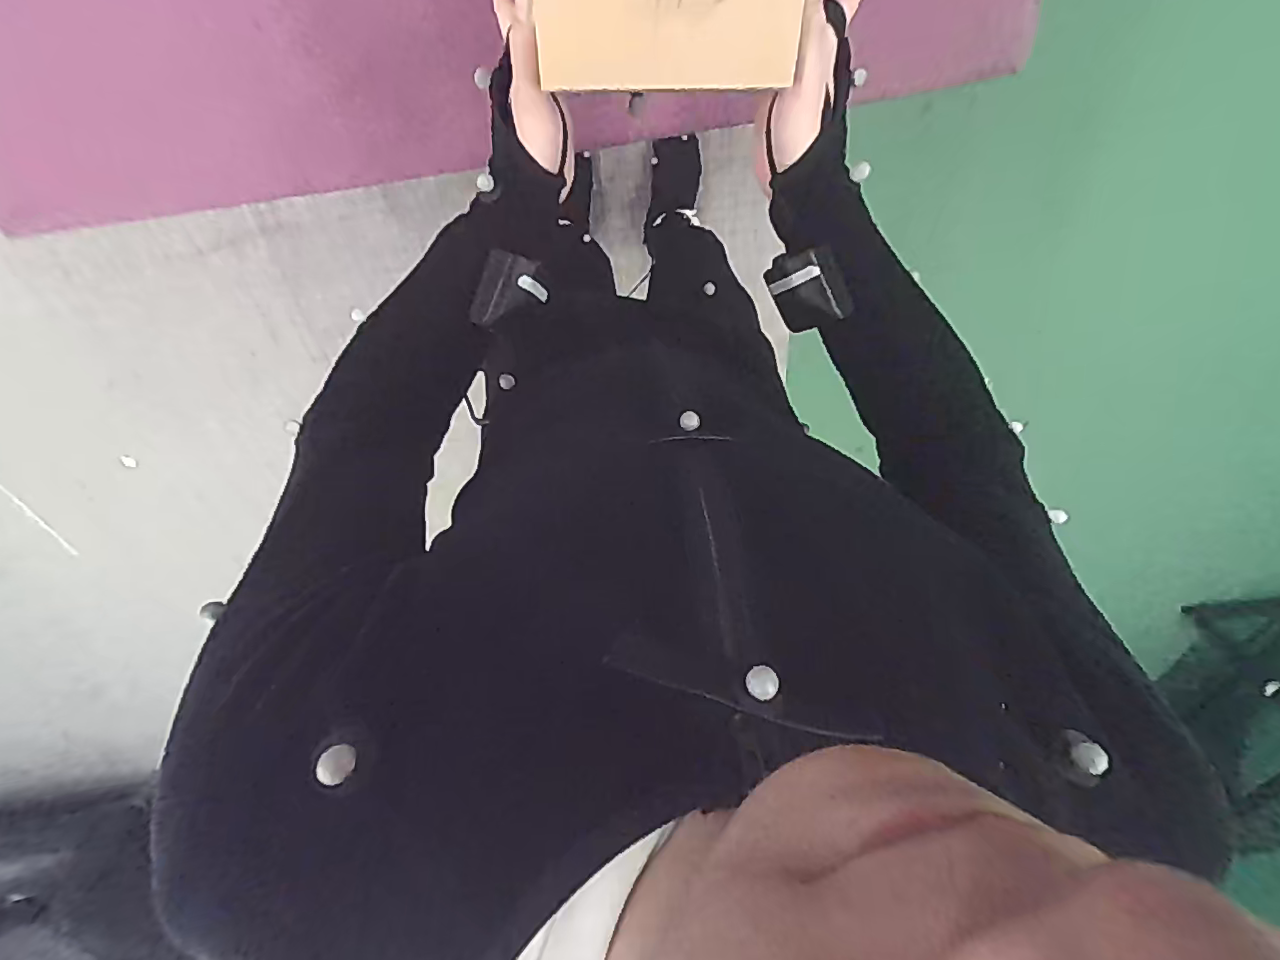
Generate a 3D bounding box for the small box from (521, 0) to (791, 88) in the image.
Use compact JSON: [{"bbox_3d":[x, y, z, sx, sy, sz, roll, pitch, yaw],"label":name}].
[{"bbox_3d":[0.009,-0.373,0.362,0.168,0.176,0.179,-1,126,0],"label":"small box"}]
